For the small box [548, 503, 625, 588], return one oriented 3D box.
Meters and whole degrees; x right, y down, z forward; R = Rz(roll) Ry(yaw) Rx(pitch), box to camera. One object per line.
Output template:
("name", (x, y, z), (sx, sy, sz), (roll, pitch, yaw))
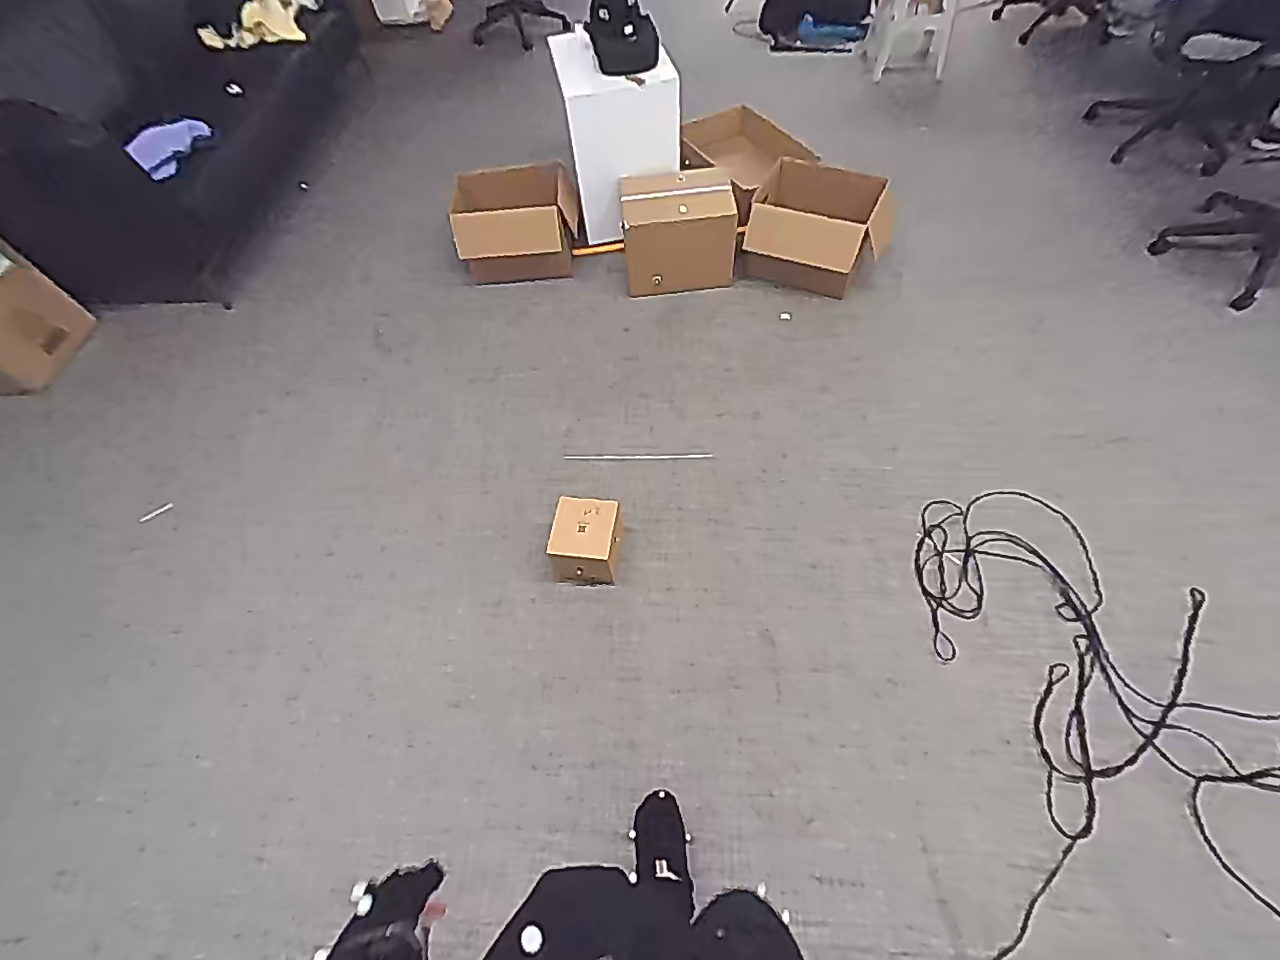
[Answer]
("small box", (-0.139, 0.185, 1.492), (0.168, 0.176, 0.179), (5, 58, 8))
